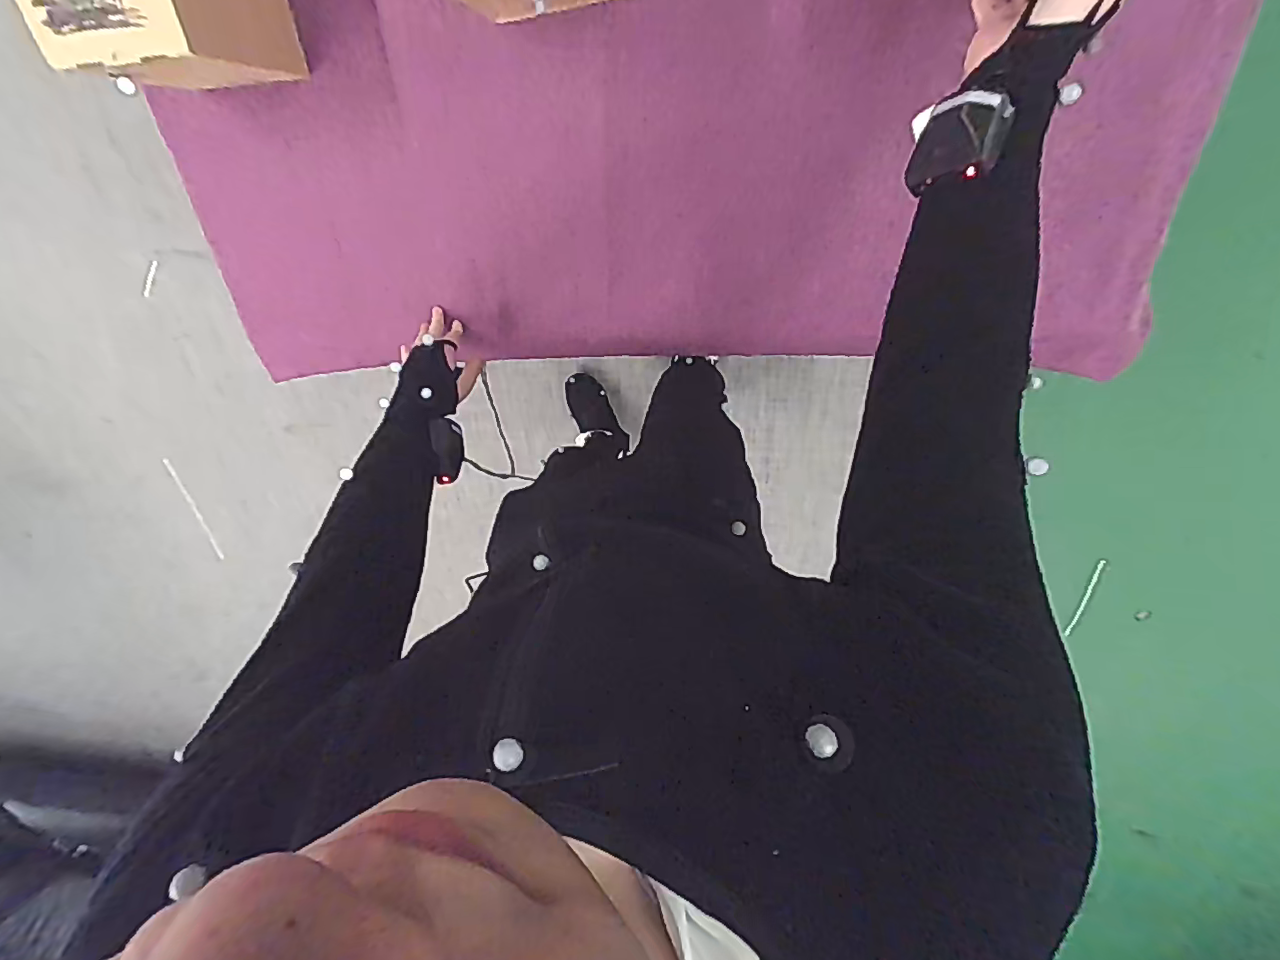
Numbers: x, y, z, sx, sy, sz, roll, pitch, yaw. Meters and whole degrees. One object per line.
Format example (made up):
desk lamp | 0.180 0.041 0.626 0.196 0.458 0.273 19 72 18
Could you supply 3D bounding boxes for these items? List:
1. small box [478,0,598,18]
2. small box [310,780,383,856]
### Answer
small box | -0.100 -0.538 0.465 0.168 0.176 0.179 -3 121 11
small box | -1.096 1.265 2.030 0.168 0.176 0.179 28 121 -8
